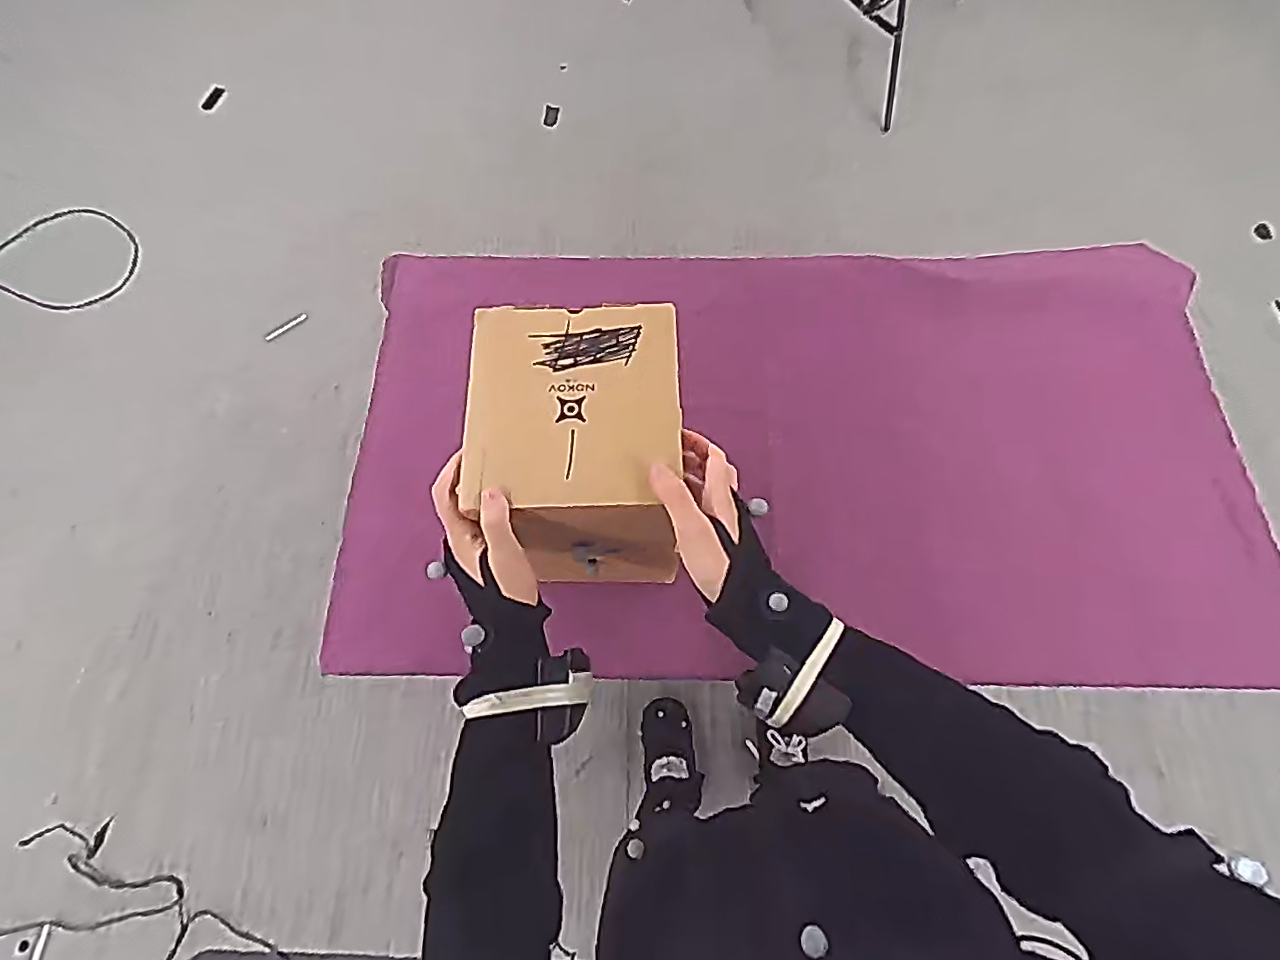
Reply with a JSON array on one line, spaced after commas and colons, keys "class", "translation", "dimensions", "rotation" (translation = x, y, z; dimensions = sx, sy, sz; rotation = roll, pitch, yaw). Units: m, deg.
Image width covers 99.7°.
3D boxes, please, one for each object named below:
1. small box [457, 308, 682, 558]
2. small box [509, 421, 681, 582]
[{"class": "small box", "translation": [-0.052, -0.033, 0.494], "dimensions": [0.168, 0.176, 0.179], "rotation": [-2, 70, 1]}, {"class": "small box", "translation": [-0.044, 0.025, 0.648], "dimensions": [0.179, 0.176, 0.168], "rotation": [0, 70, 1]}]
